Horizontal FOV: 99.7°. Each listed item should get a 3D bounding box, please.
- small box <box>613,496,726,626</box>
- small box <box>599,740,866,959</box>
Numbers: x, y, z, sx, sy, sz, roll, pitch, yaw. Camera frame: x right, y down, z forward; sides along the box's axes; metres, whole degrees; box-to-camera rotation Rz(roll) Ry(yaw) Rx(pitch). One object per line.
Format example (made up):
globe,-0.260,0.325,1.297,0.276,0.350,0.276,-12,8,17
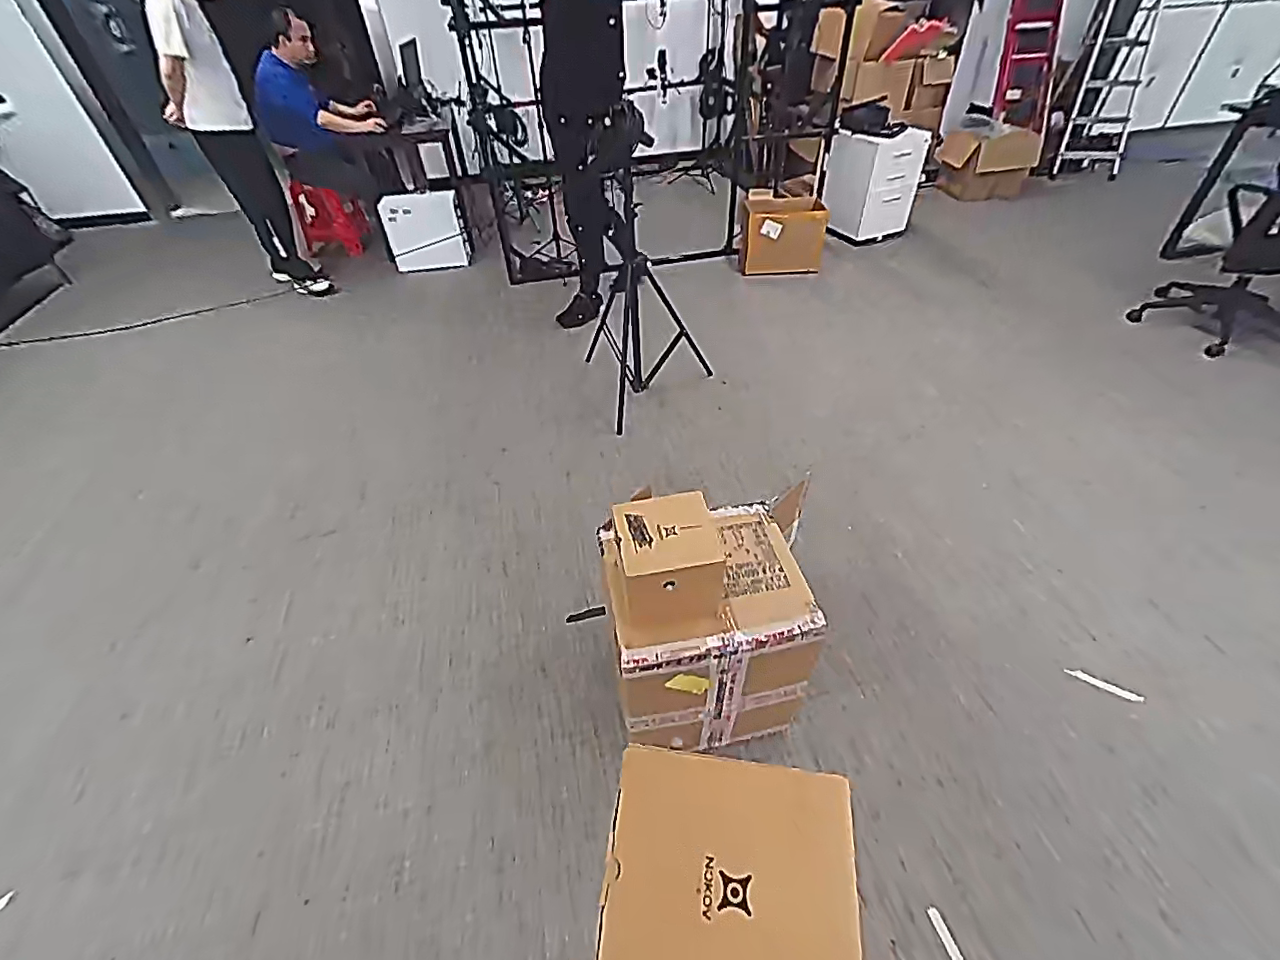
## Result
small box,0.051,0.155,1.013,0.179,0.176,0.168,-8,46,-6
small box,0.074,0.329,0.447,0.179,0.176,0.168,3,55,10
